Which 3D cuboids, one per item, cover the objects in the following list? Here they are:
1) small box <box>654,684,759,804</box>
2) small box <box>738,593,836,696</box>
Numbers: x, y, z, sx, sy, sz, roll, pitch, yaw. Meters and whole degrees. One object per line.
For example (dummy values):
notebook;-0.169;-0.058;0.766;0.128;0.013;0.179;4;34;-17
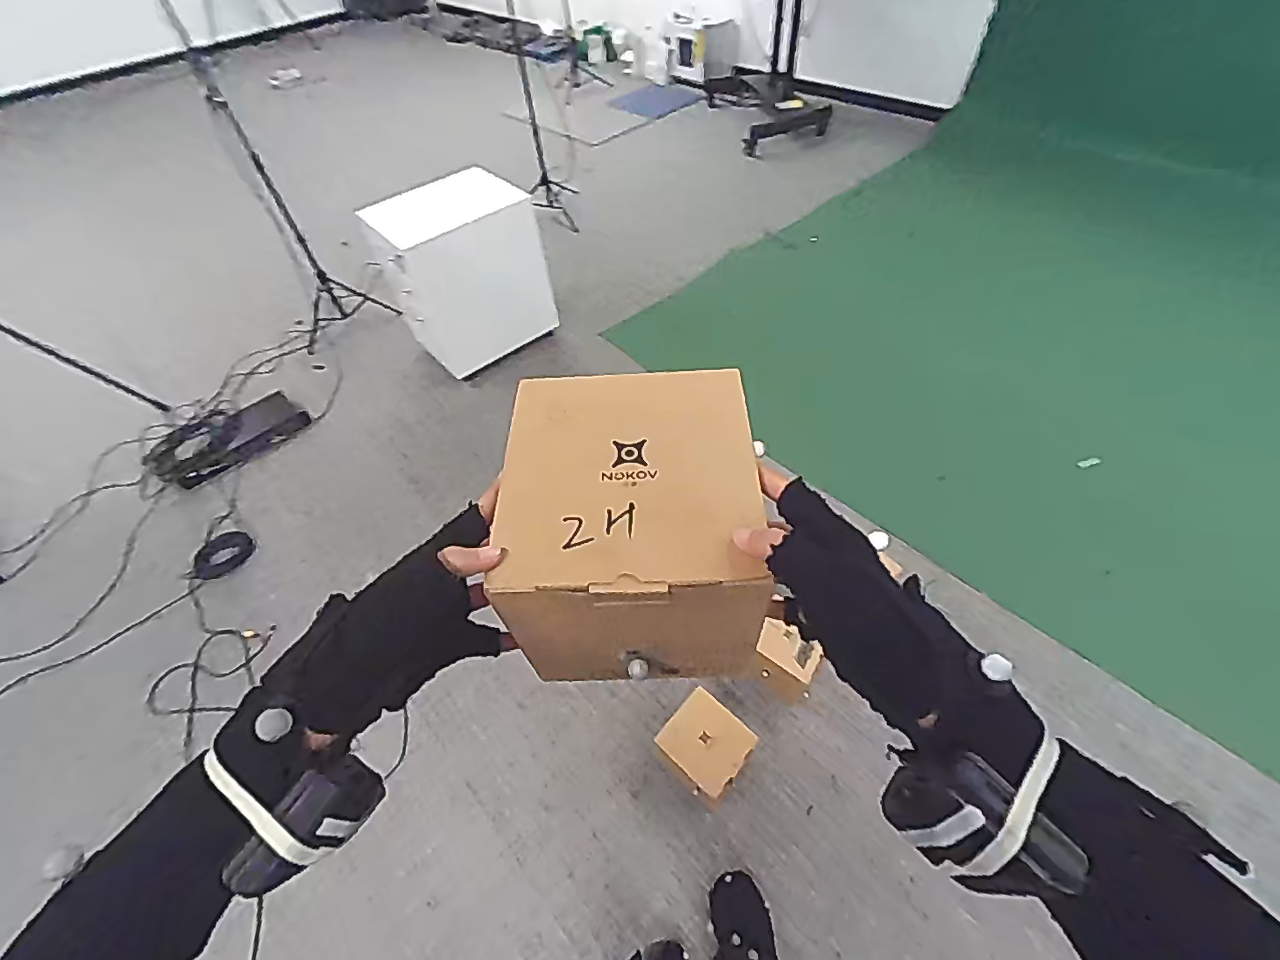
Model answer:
small box;0.151;0.617;1.256;0.179;0.176;0.168;34;62;27
small box;0.370;0.429;1.389;0.179;0.176;0.168;30;59;26
